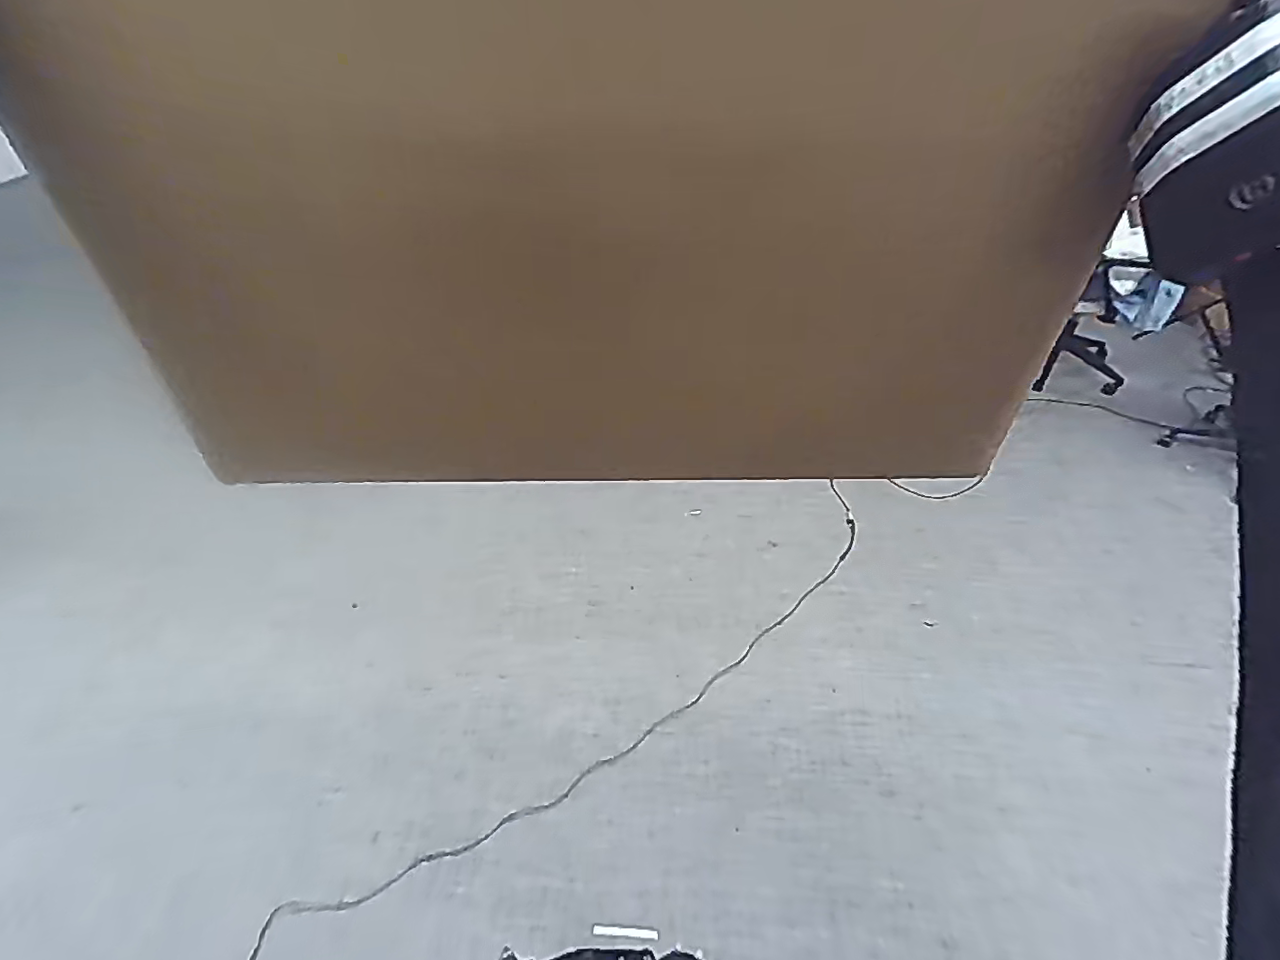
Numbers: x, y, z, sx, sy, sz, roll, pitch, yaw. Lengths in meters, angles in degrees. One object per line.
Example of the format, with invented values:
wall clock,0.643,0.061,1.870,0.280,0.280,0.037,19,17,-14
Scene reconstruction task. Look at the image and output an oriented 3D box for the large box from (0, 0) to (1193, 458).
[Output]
large box,-0.015,-0.220,0.315,0.408,0.320,0.320,0,39,-3
